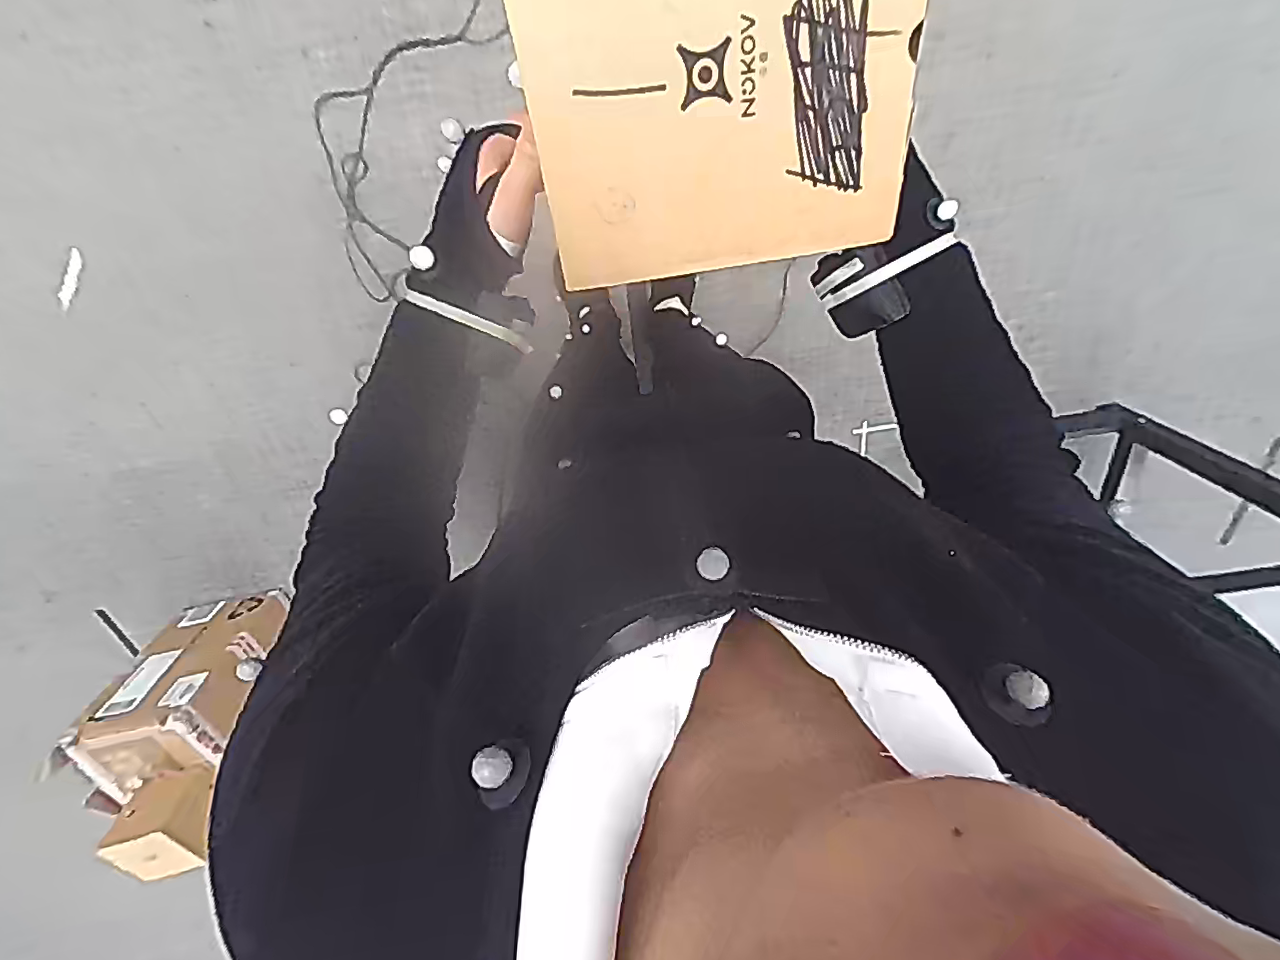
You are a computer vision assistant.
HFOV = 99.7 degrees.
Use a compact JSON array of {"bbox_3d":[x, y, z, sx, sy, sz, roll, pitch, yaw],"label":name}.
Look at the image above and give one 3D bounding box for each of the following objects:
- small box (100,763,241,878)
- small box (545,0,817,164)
[{"bbox_3d":[-1.177,0.861,1.373,0.179,0.176,0.168,-20,120,3],"label":"small box"},{"bbox_3d":[0.023,-0.347,0.408,0.179,0.176,0.168,-3,130,-1],"label":"small box"}]
